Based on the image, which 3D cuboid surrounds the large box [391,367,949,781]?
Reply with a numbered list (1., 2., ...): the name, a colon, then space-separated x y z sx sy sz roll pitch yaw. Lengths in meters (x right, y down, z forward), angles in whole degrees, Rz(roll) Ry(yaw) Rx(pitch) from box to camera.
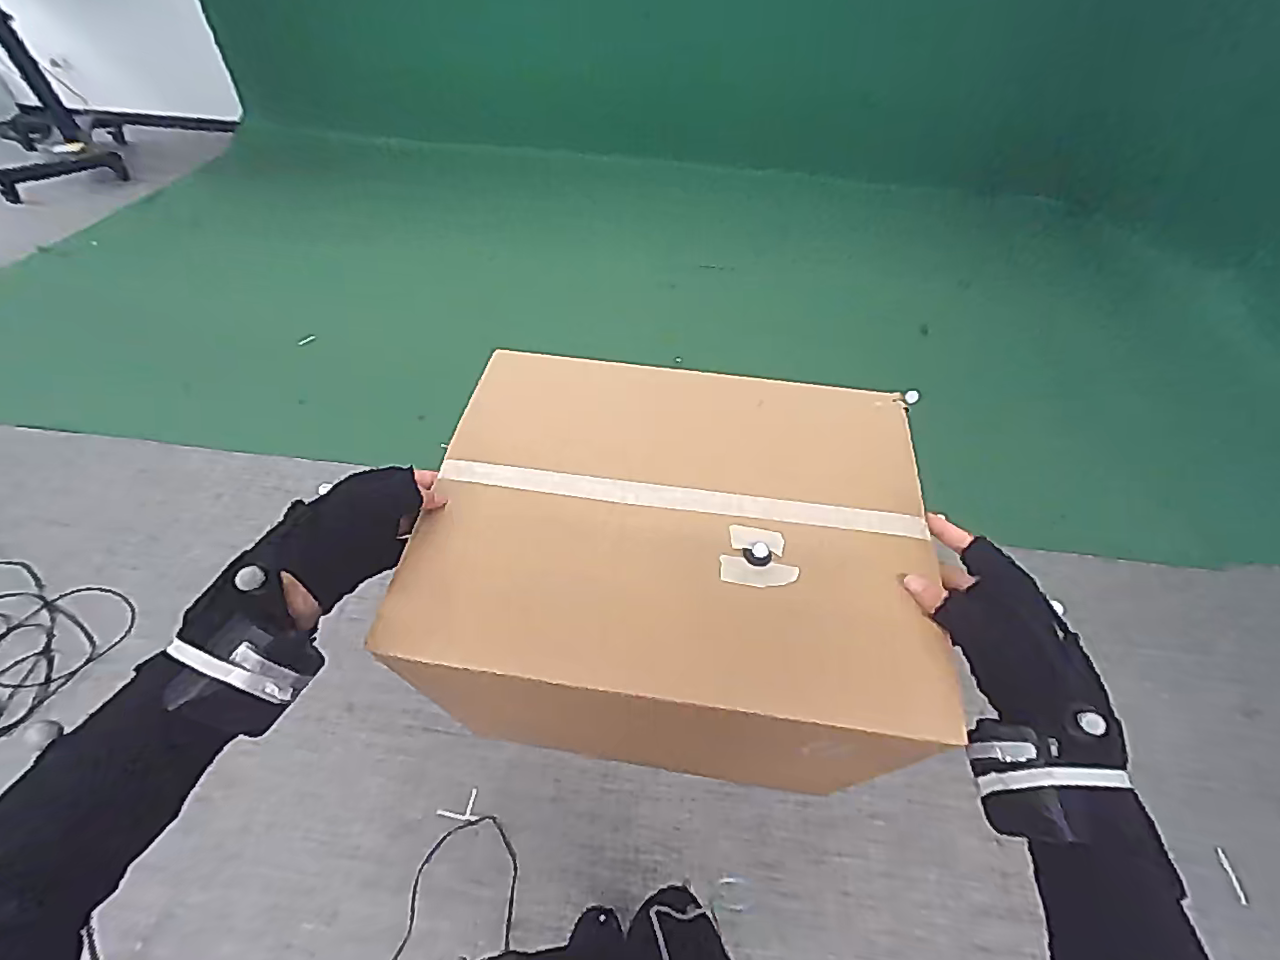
1. large box: 0.030 0.109 0.584 0.408 0.320 0.320 6 55 4
